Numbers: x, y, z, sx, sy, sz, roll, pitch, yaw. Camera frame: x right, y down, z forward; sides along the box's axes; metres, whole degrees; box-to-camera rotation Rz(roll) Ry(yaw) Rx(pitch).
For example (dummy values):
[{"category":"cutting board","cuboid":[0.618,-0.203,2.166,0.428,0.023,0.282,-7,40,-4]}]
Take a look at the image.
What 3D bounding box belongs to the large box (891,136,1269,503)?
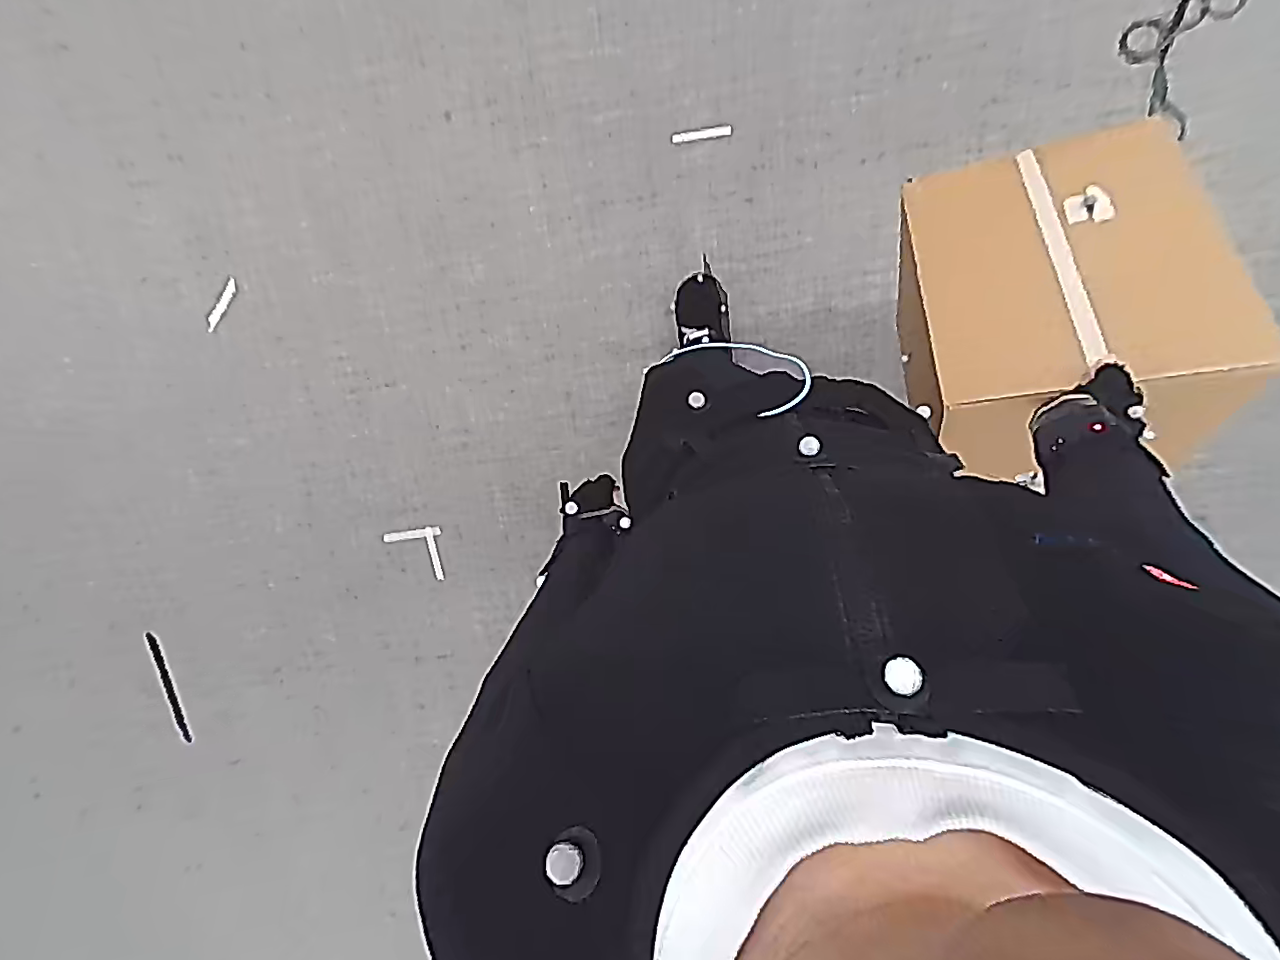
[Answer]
[{"category":"large box","cuboid":[0.581,-0.216,0.826,0.320,0.320,0.408,-5,61,19]}]
